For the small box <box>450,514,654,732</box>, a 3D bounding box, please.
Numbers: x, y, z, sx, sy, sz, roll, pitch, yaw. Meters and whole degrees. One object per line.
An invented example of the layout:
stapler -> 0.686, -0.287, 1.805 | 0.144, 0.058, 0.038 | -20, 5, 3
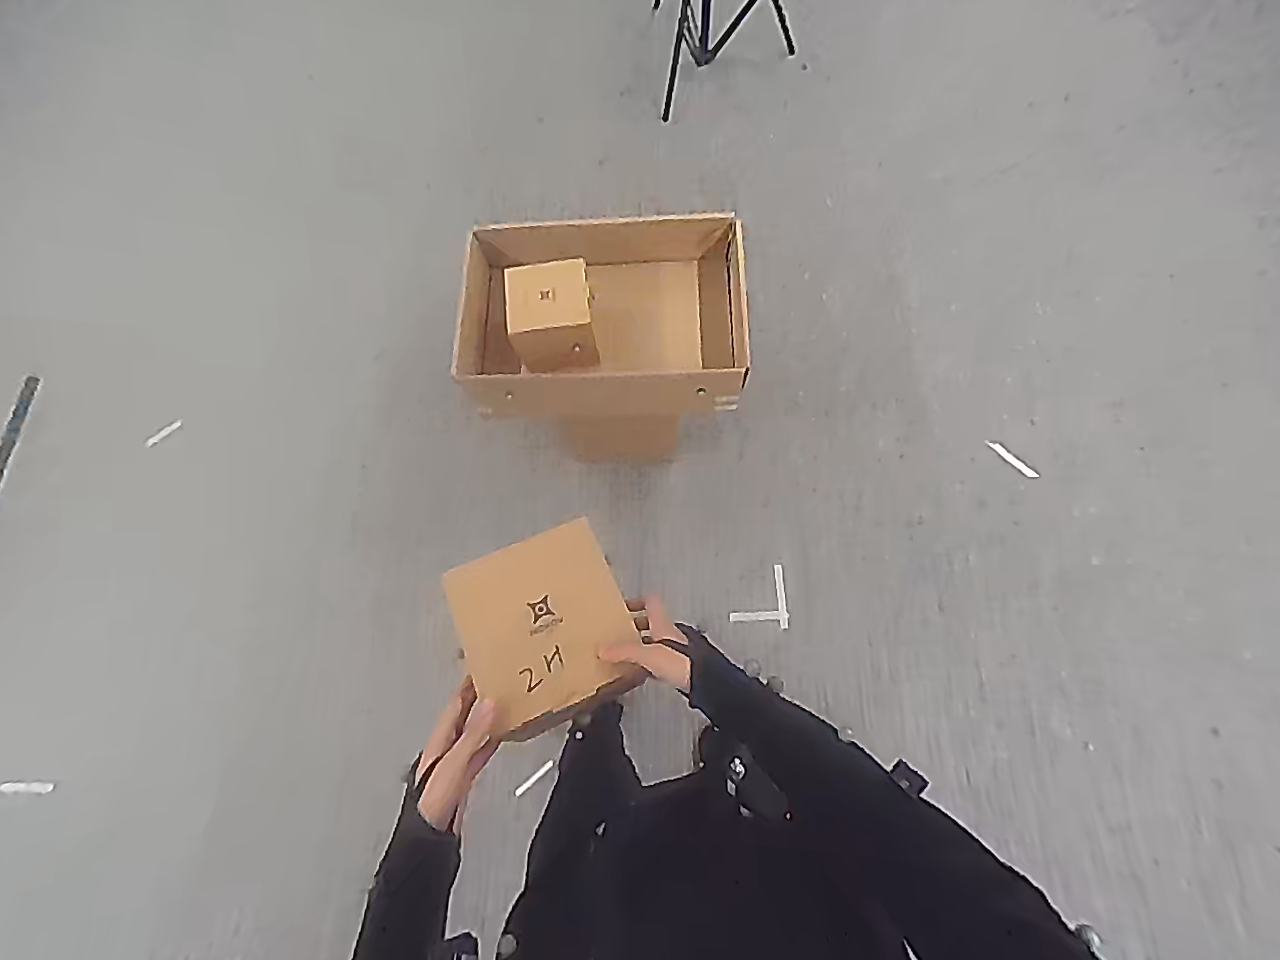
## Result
small box -> -0.097, 0.170, 0.619 | 0.168, 0.176, 0.179 | -20, 67, -12

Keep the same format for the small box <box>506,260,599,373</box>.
small box -> -0.187, -0.356, 1.197 | 0.179, 0.176, 0.168 | -8, 71, 1
